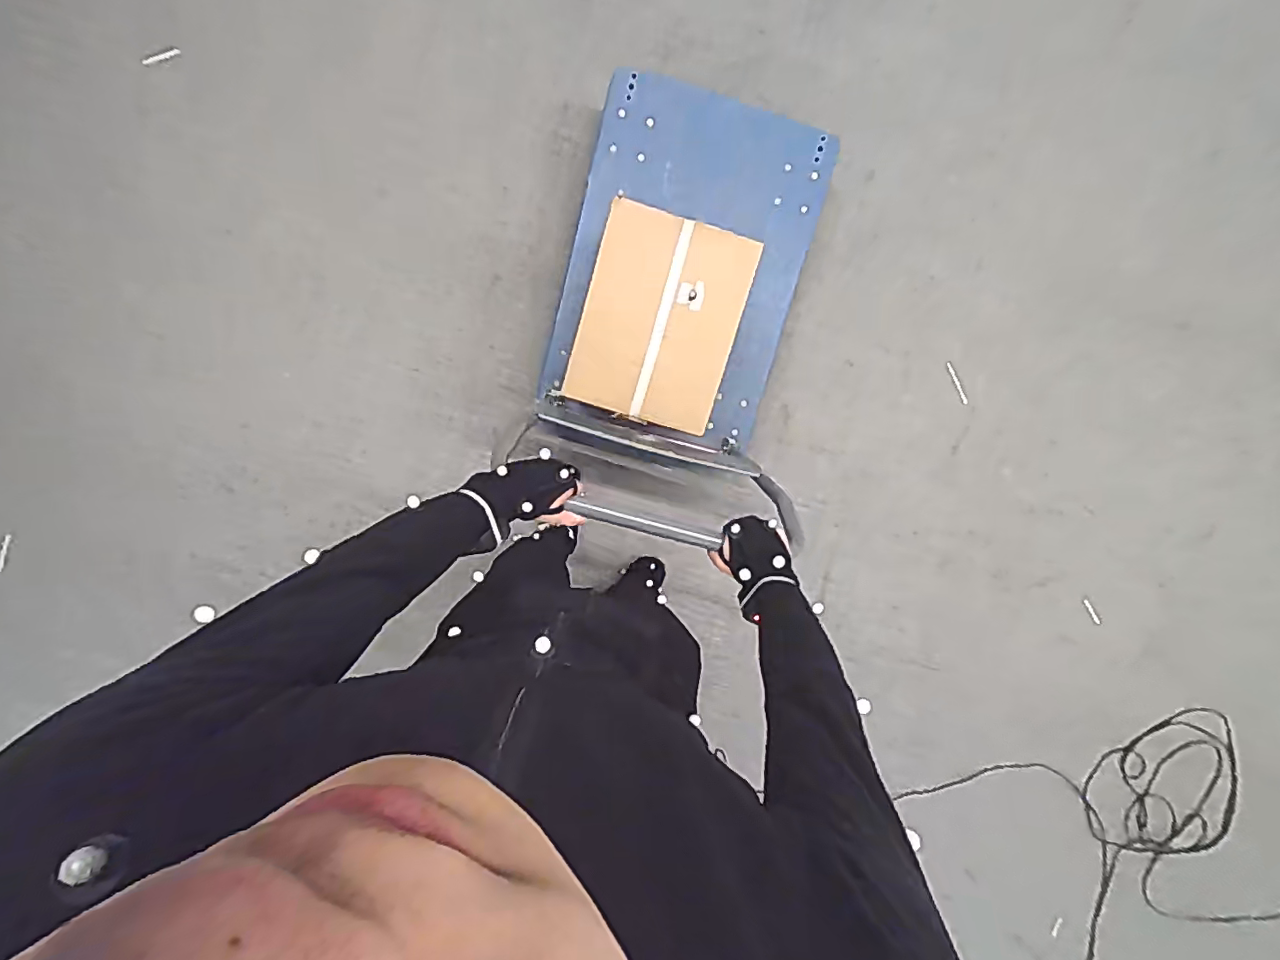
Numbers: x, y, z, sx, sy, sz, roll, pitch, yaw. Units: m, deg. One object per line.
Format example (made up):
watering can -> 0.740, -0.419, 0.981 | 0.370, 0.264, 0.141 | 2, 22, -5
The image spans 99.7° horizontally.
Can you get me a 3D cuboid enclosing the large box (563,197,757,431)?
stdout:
large box -> 0.033, -0.351, 1.242 | 0.320, 0.320, 0.408 | 16, 99, -6
